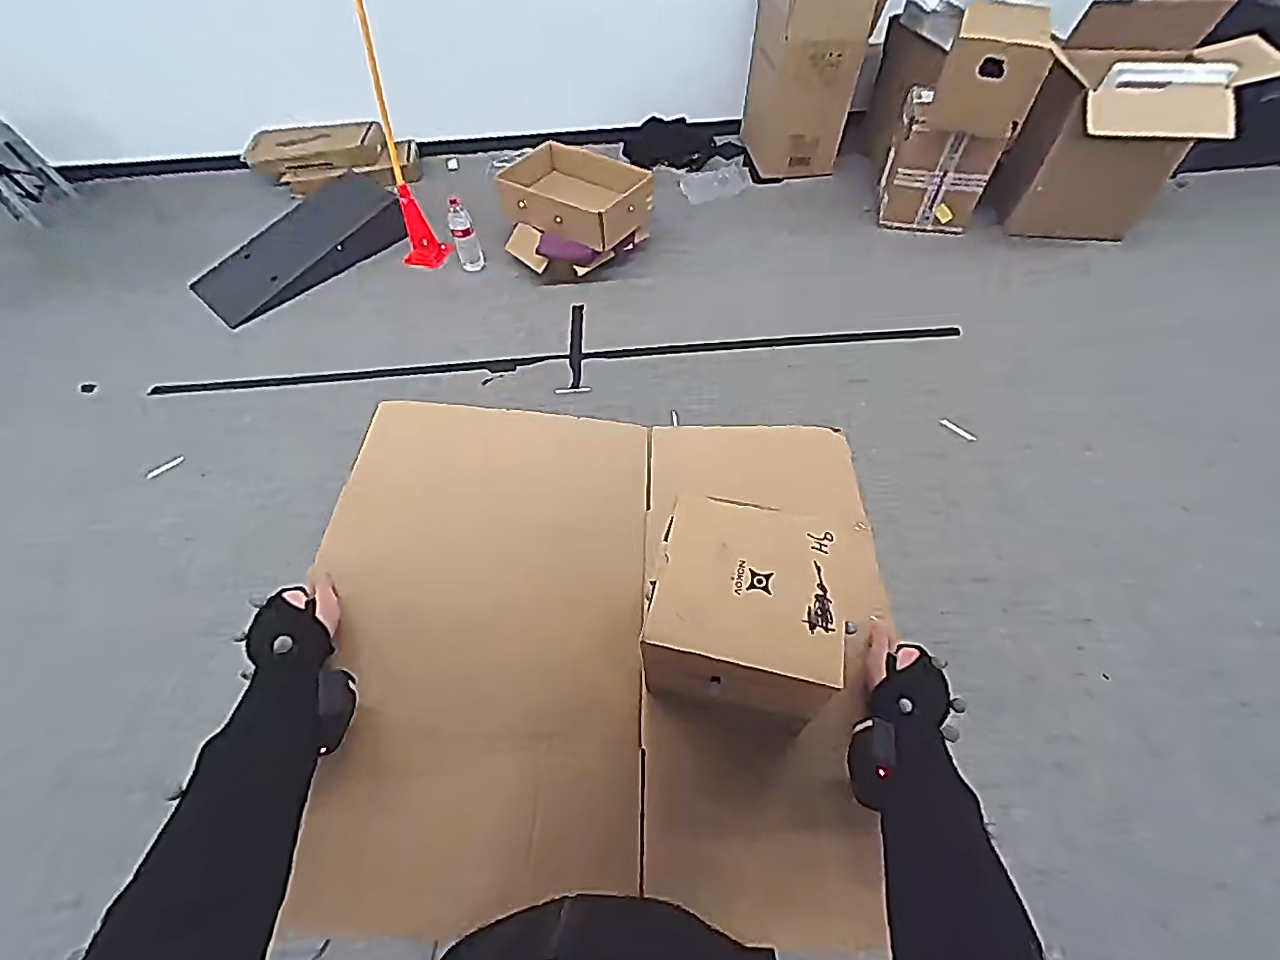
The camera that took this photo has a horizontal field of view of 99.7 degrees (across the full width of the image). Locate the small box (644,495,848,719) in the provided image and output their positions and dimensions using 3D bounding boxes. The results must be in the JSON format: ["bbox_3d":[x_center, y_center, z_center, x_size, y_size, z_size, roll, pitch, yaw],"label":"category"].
[{"bbox_3d":[0.112,0.140,0.580,0.179,0.176,0.168,10,56,11],"label":"small box"}]
